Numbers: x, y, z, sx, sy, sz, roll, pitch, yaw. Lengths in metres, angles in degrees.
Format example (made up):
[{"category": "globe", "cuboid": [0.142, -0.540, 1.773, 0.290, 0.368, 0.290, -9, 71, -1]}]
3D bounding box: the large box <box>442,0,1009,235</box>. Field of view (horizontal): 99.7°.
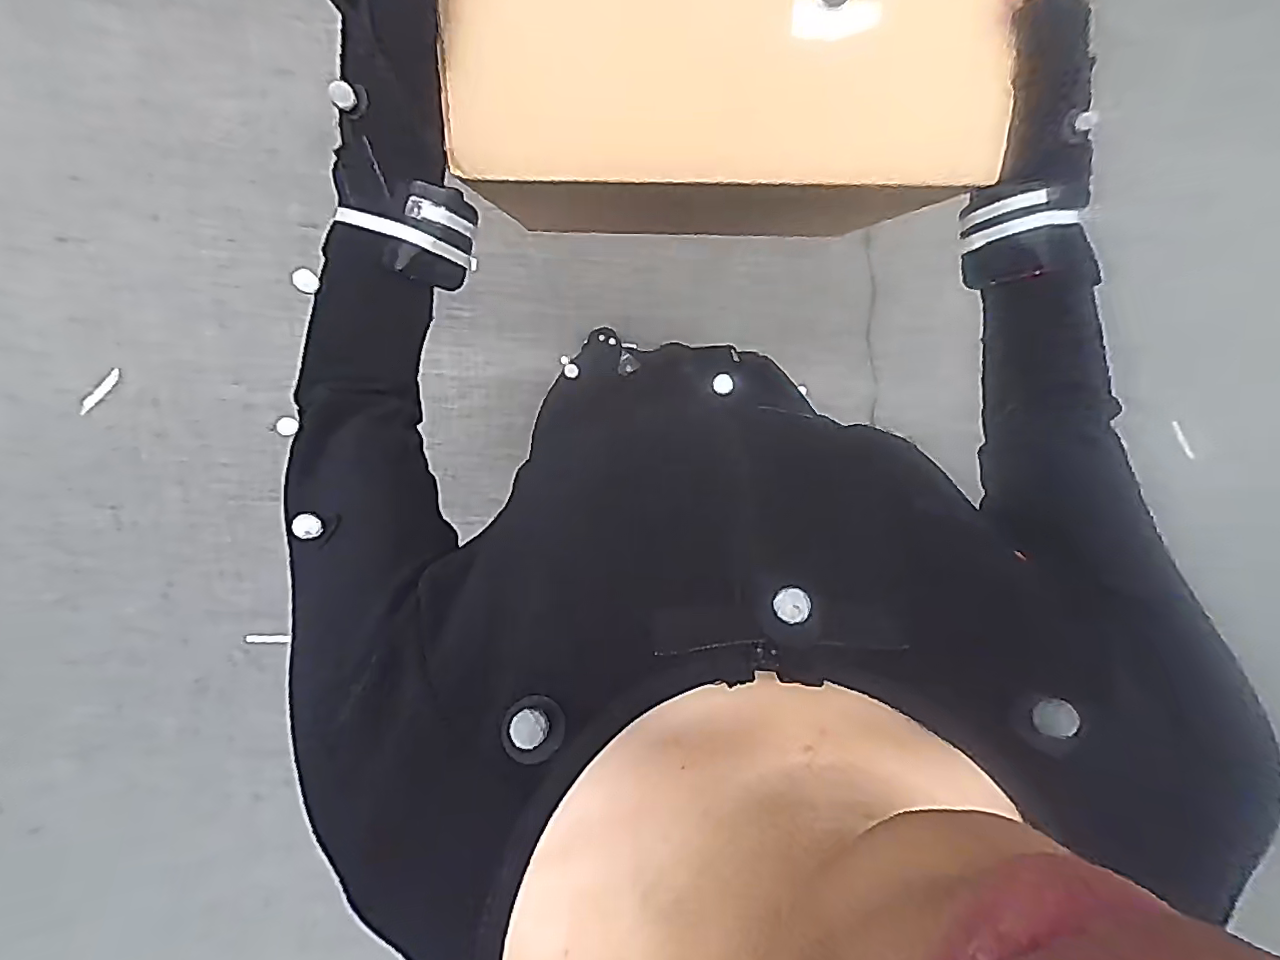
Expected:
[{"category": "large box", "cuboid": [0.056, -0.420, 0.504, 0.408, 0.320, 0.320, 0, 108, -2]}]
